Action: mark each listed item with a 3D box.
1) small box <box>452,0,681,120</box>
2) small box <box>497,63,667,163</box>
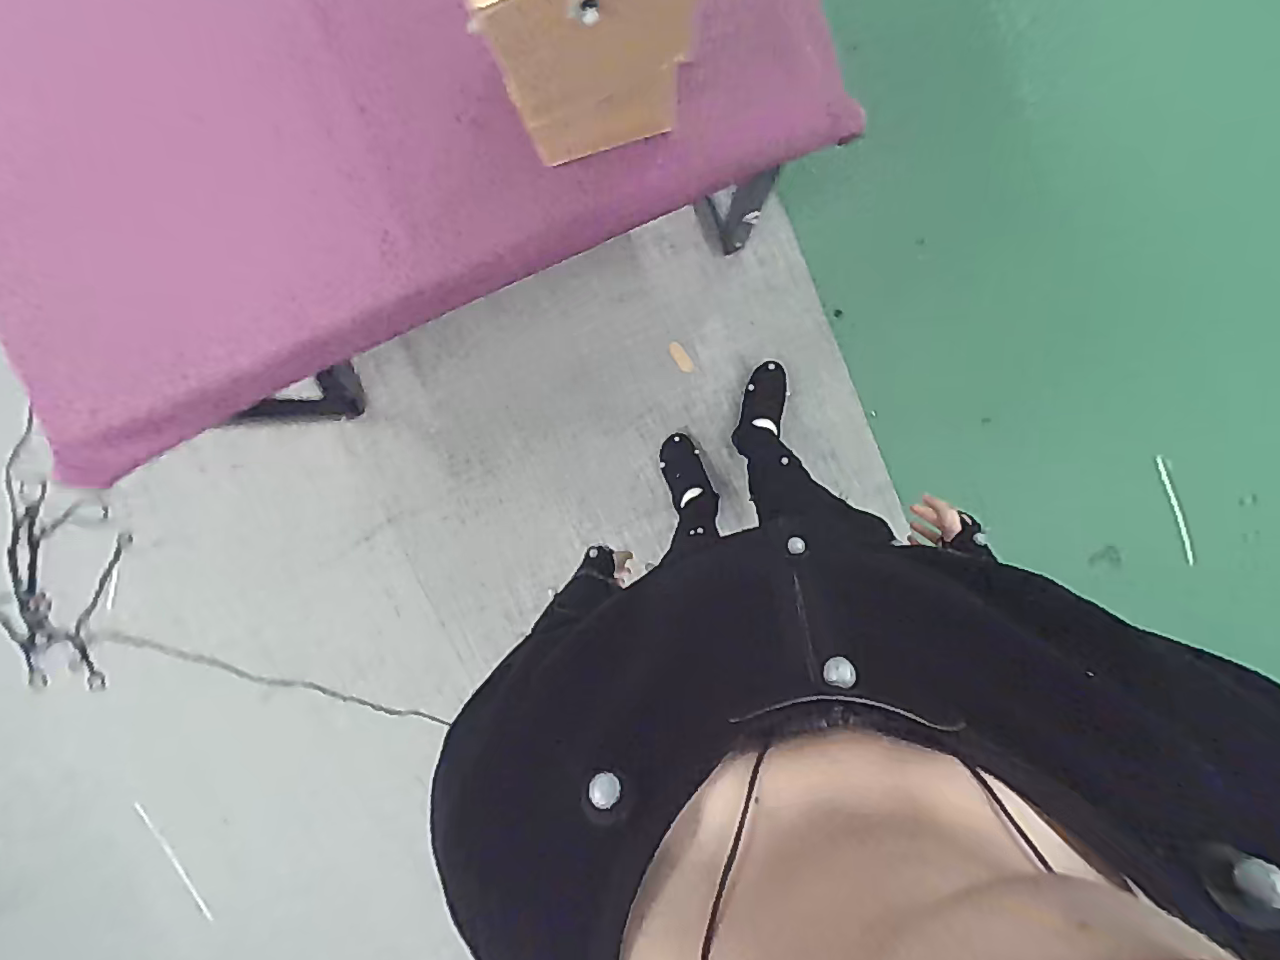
[{"bbox_3d":[-0.070,-0.448,0.452,0.179,0.176,0.168,-19,96,6],"label":"small box"},{"bbox_3d":[-0.071,-0.497,0.611,0.179,0.176,0.168,-14,96,6],"label":"small box"}]
